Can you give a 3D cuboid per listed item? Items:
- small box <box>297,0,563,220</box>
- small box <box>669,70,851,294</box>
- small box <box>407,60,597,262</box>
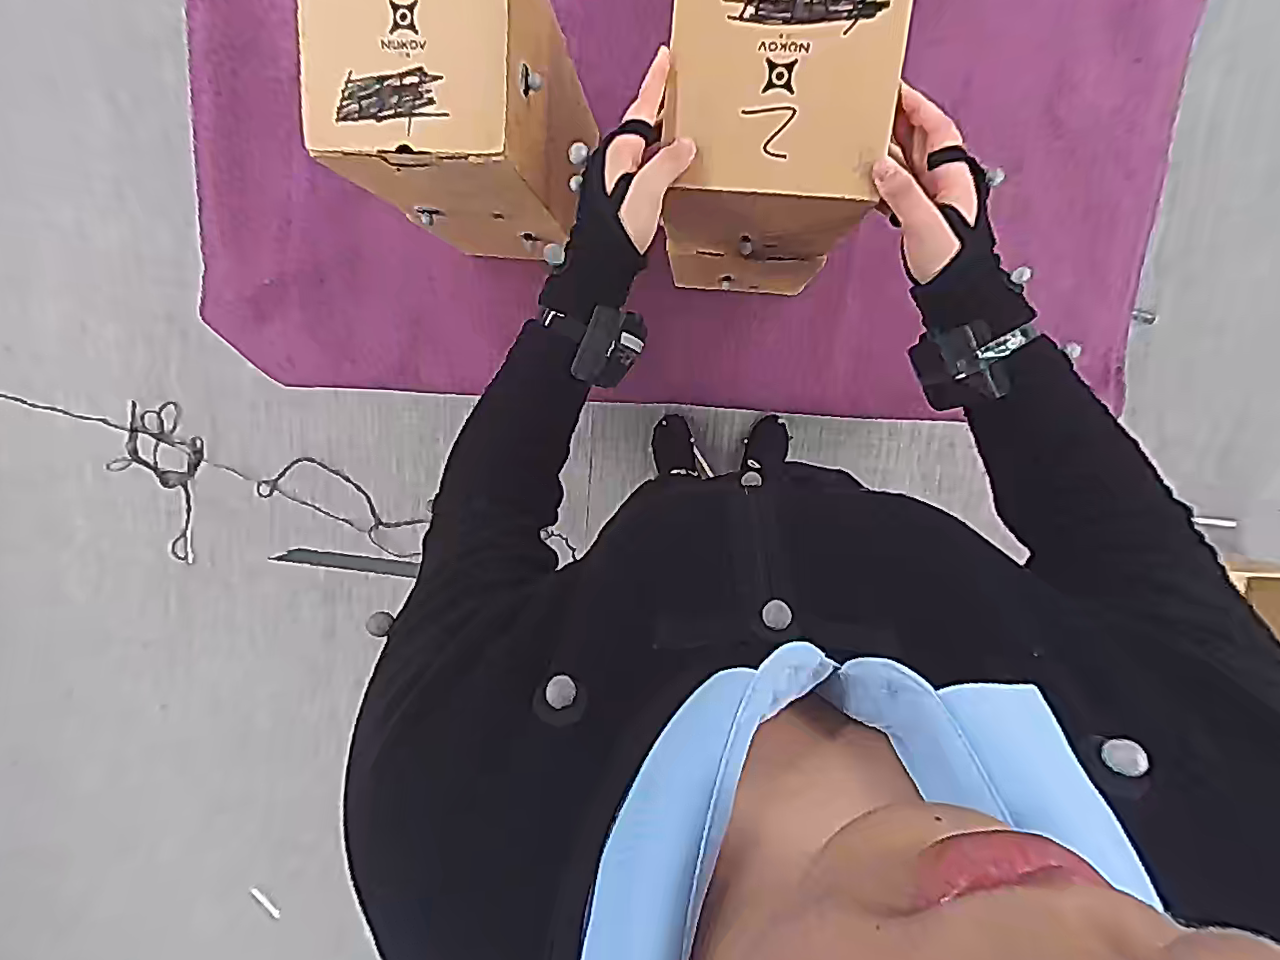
[{"bbox_3d":[-0.169,-0.347,0.482,0.168,0.176,0.179,4,99,5],"label":"small box"},{"bbox_3d":[0.125,-0.326,0.622,0.168,0.176,0.179,6,100,5],"label":"small box"},{"bbox_3d":[-0.153,-0.367,0.644,0.179,0.176,0.168,6,99,5],"label":"small box"}]
